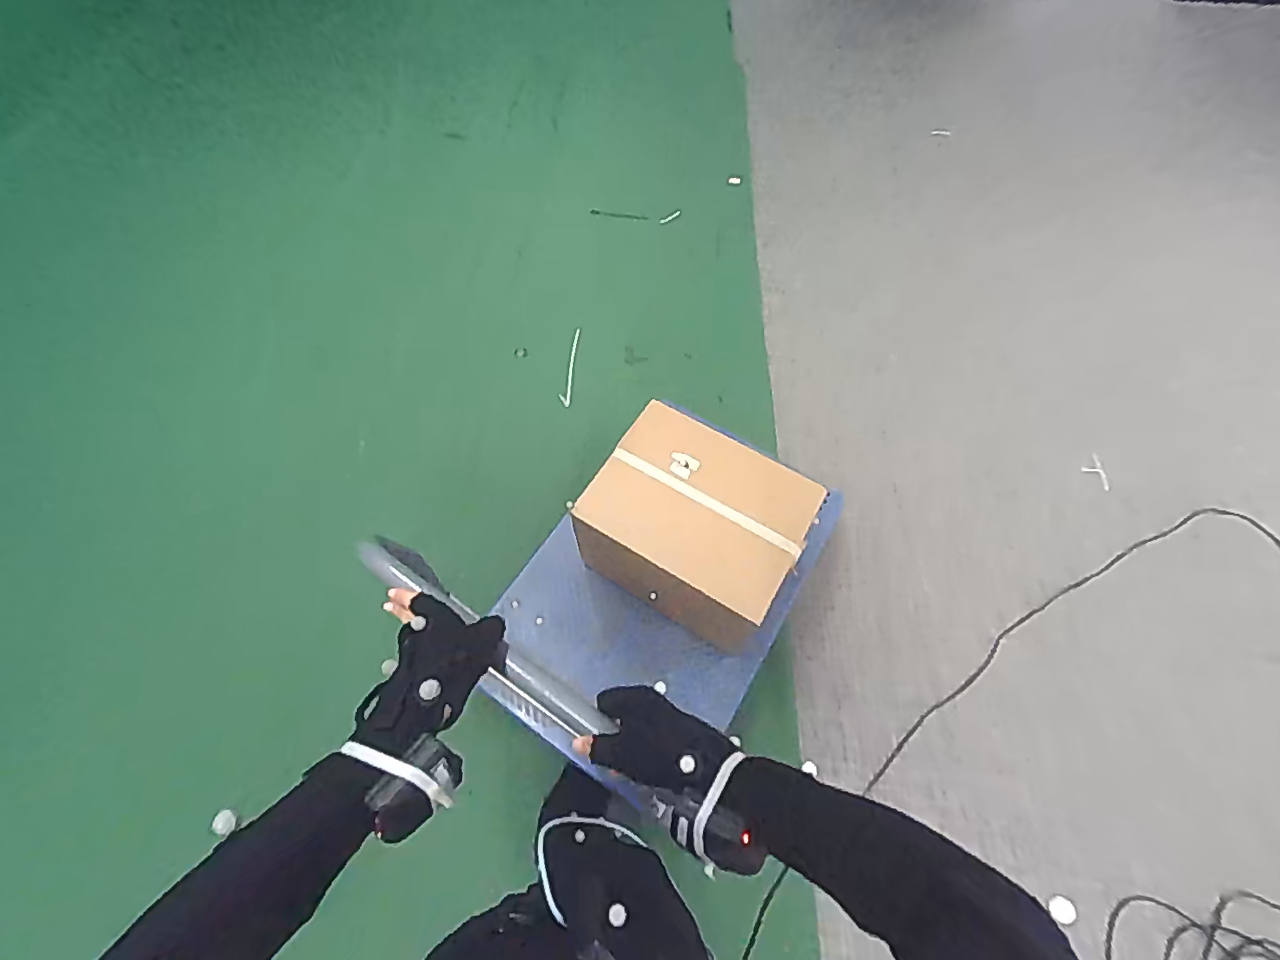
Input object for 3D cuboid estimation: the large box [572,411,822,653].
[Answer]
[{"bbox_3d":[0.117,0.123,1.182,0.408,0.320,0.320,29,65,14],"label":"large box"}]
